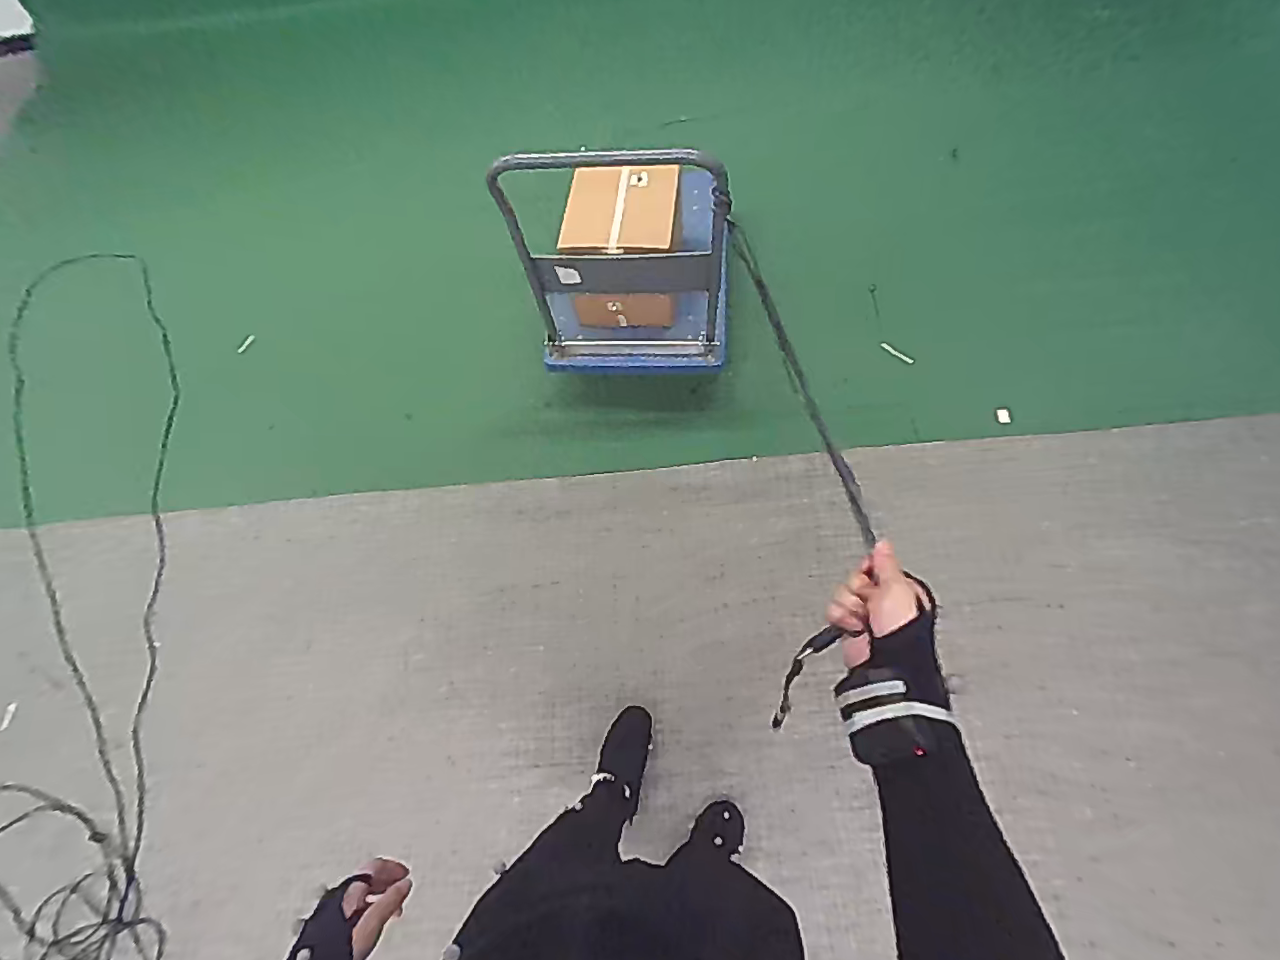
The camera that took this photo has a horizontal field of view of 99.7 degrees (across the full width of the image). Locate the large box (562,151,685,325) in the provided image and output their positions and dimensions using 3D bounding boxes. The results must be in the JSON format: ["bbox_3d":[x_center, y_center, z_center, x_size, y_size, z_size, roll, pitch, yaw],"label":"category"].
[{"bbox_3d":[-0.029,-0.732,1.664,0.320,0.320,0.408,4,65,7],"label":"large box"}]
